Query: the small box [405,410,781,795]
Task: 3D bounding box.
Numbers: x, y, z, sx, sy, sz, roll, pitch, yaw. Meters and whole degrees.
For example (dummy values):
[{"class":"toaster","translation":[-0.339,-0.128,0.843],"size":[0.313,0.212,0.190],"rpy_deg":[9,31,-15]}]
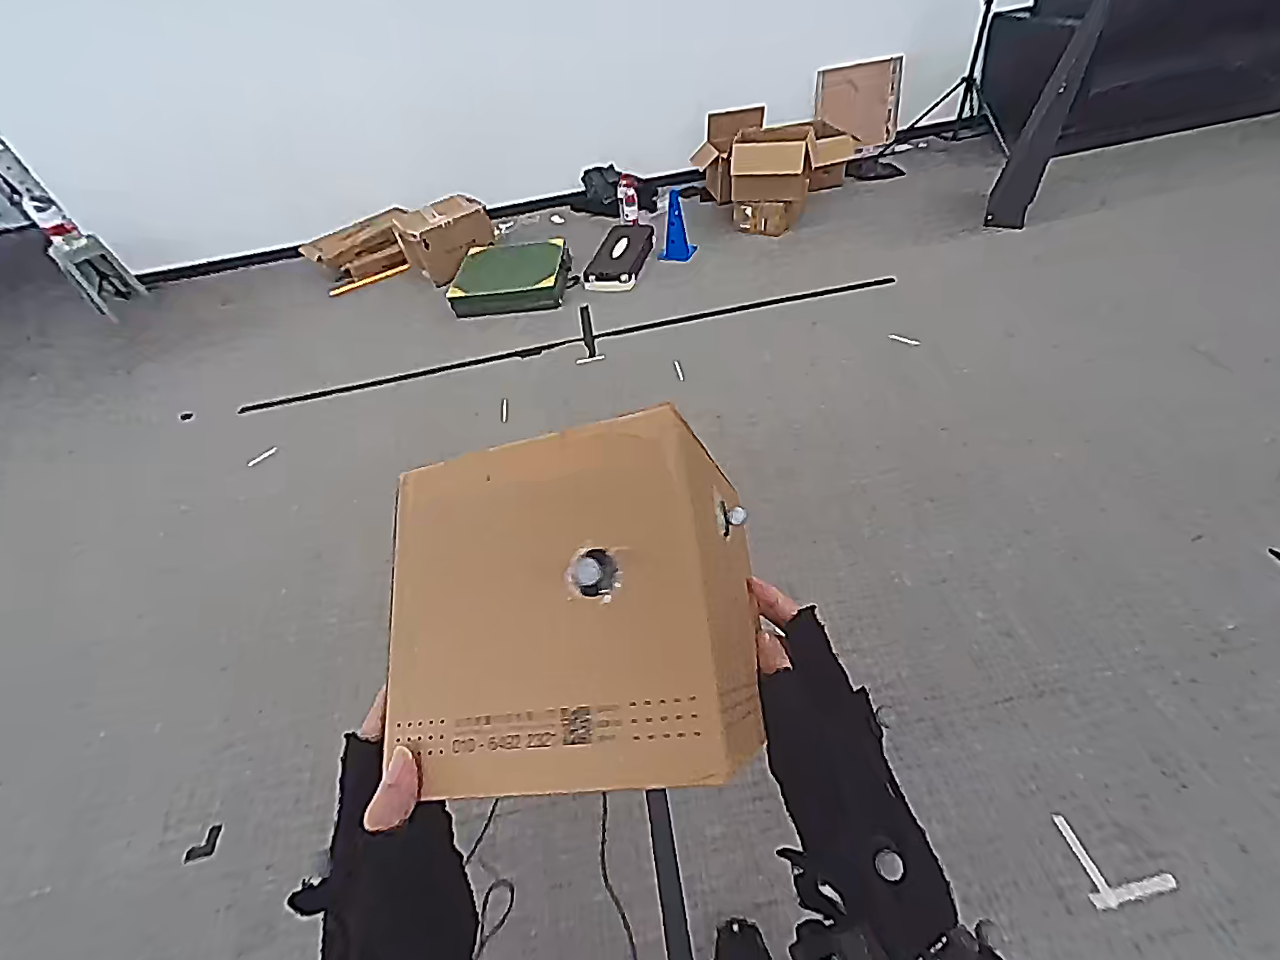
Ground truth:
[{"class":"small box","translation":[-0.018,0.083,0.333],"size":[0.168,0.179,0.176],"rpy_deg":[-13,69,20]}]
